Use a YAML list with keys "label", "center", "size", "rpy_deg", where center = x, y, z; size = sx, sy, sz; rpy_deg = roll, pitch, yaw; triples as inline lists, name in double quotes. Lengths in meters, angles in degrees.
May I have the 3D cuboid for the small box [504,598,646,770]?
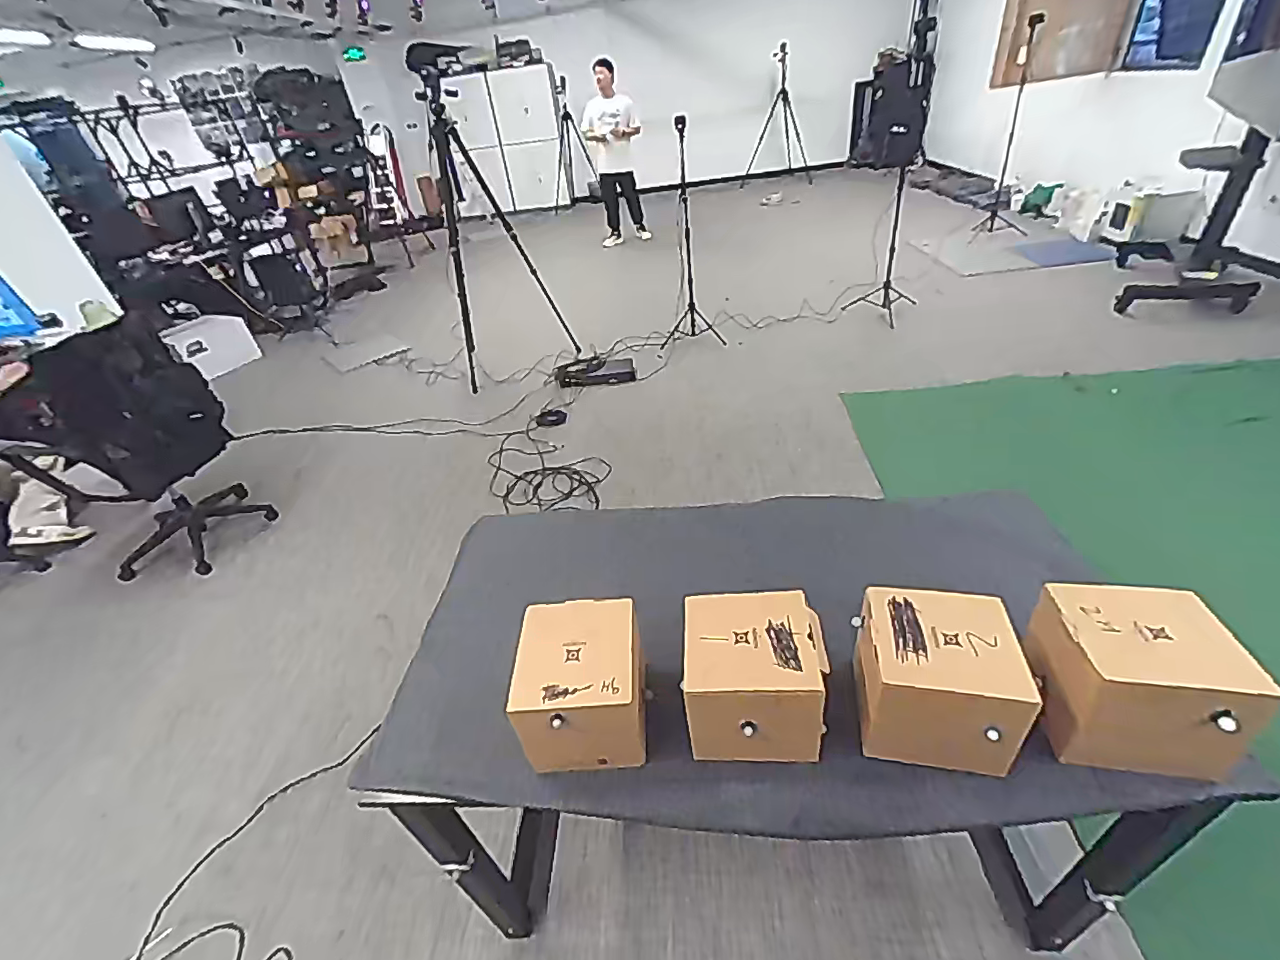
- label: "small box"
  center: [-0.084, 0.300, 0.802]
  size: [0.168, 0.176, 0.179]
  rpy_deg: [-6, 36, 5]
